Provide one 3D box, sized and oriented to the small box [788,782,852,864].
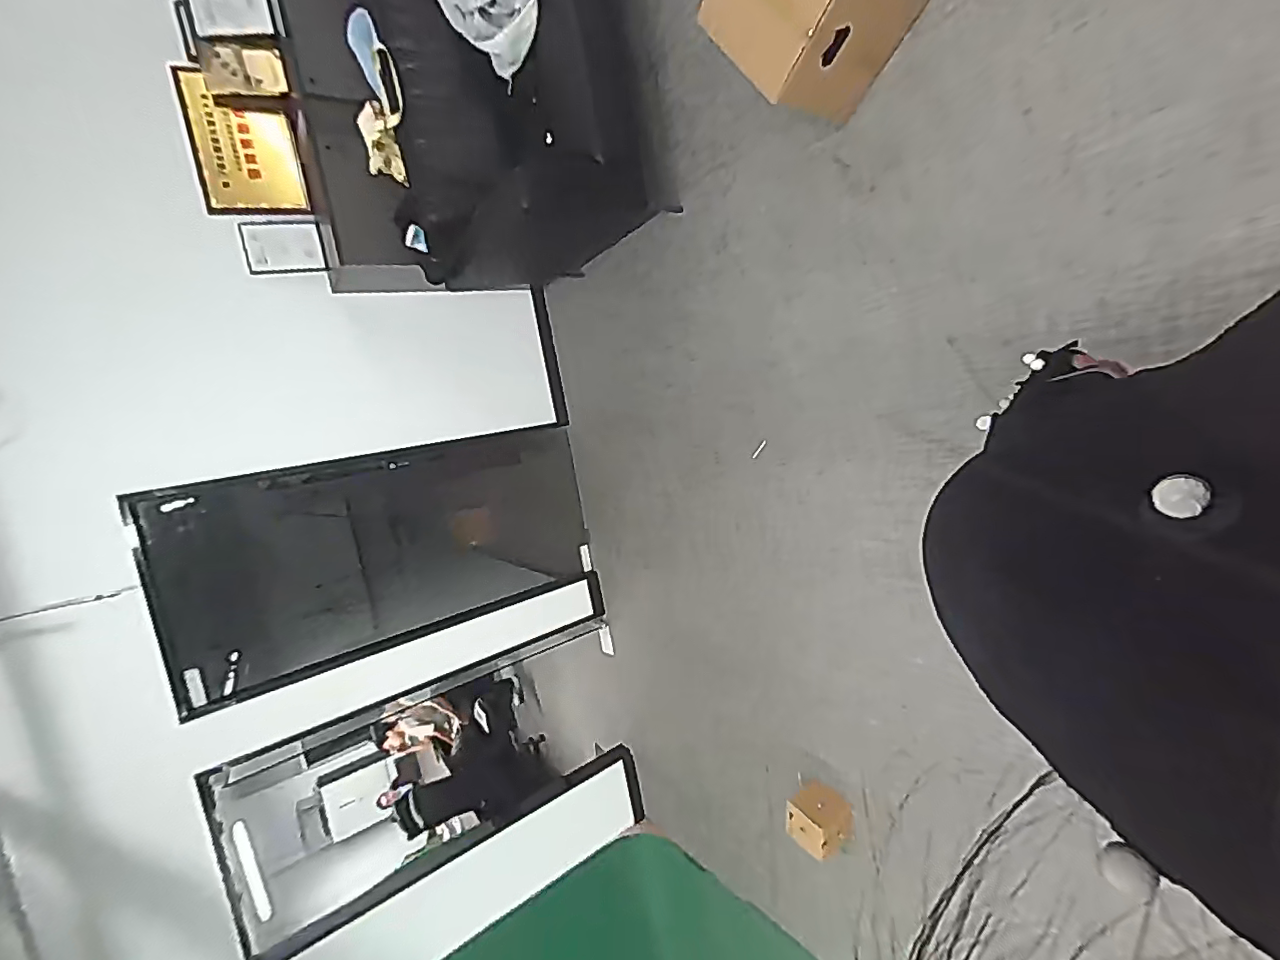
[{"bbox_3d":[0.695,1.313,2.085,0.179,0.176,0.168,18,116,51],"label":"small box"}]
